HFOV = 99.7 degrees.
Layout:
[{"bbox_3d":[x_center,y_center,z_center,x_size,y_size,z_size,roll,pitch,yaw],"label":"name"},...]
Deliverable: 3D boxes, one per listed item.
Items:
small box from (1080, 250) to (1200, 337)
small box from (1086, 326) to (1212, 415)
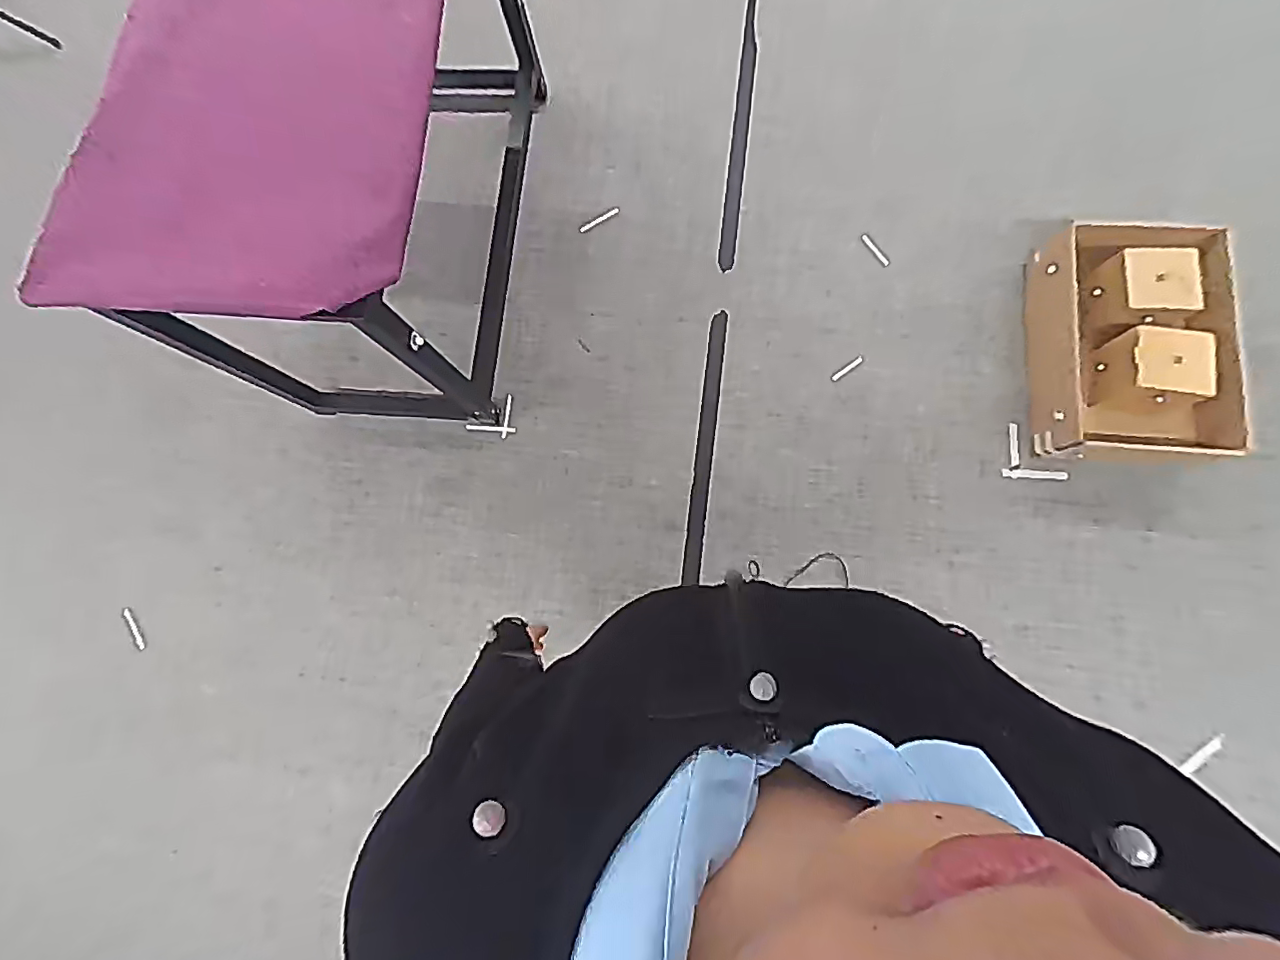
[{"bbox_3d":[1.319,-0.492,1.444,0.179,0.176,0.168,3,82,4],"label":"small box"},{"bbox_3d":[1.319,-0.277,1.408,0.179,0.176,0.168,10,80,6],"label":"small box"}]
